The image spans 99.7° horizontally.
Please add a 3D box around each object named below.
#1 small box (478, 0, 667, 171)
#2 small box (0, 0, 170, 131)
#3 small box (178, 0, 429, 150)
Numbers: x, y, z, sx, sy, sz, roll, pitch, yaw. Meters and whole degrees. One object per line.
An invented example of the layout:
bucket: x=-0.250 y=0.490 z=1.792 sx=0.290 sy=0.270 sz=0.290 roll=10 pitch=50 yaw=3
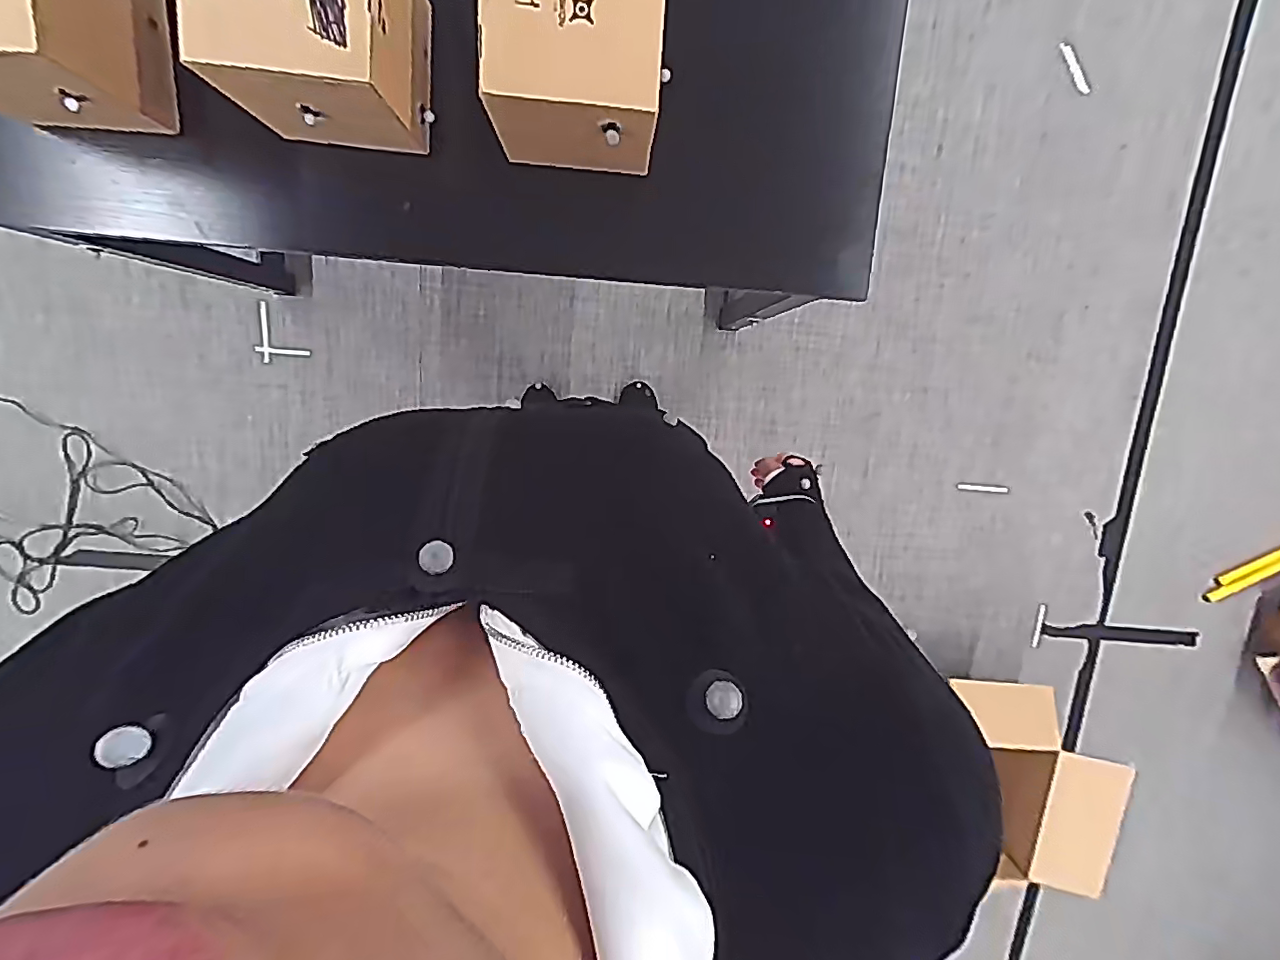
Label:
small box: x=-0.068 y=-0.460 z=0.591 sx=0.179 sy=0.176 sz=0.168 roll=4 pitch=100 yaw=-3
small box: x=-0.632 y=-0.486 z=0.555 sx=0.179 sy=0.176 sz=0.168 roll=1 pitch=100 yaw=-3
small box: x=-0.337 y=-0.476 z=0.572 sx=0.179 sy=0.176 sz=0.168 roll=5 pitch=100 yaw=-3
